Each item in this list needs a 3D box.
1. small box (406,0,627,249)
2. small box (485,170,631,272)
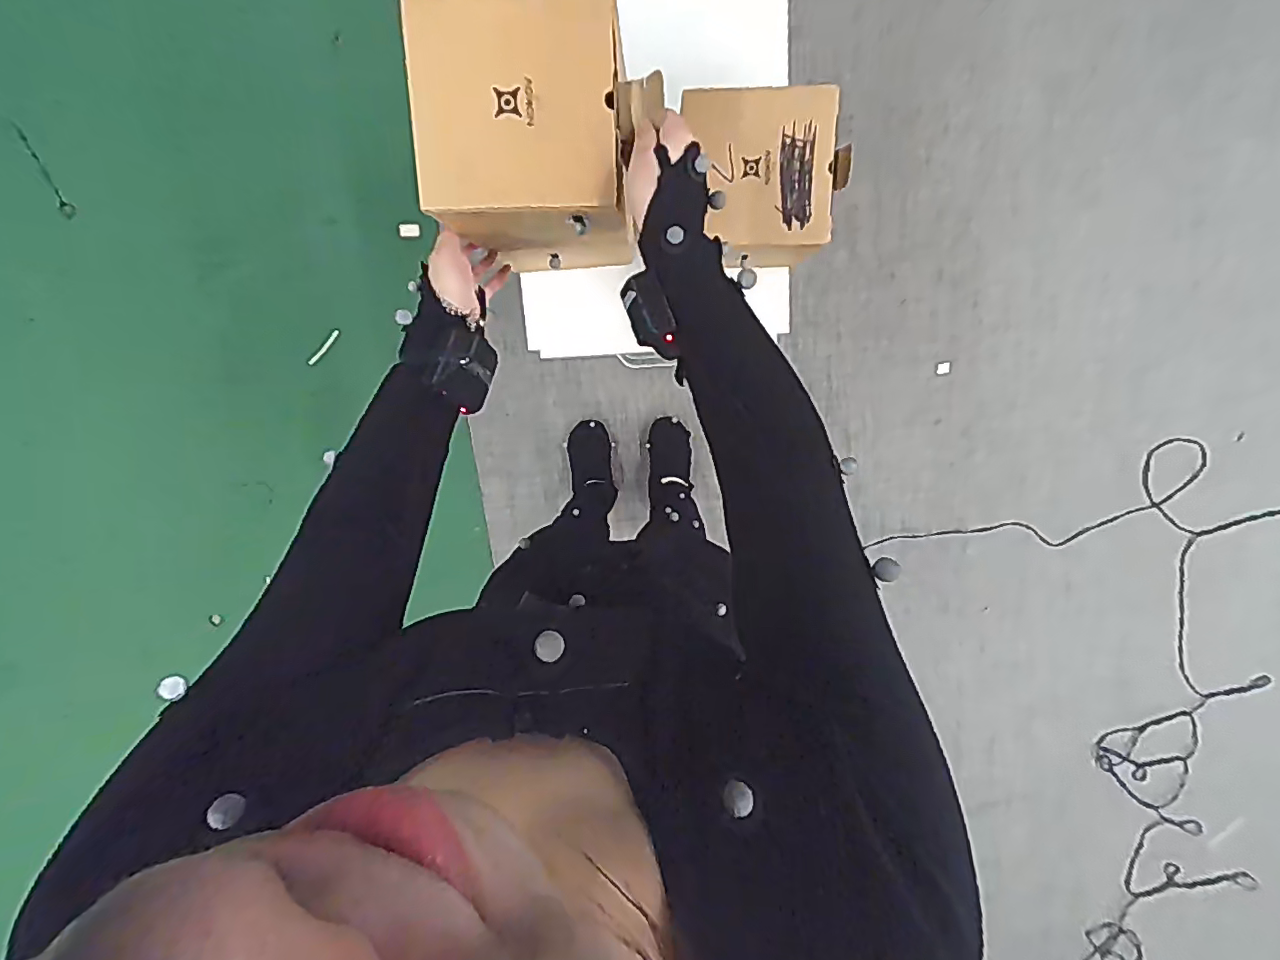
[{"bbox_3d":[-0.104,-0.332,0.532,0.179,0.176,0.168,-1,101,0],"label":"small box"},{"bbox_3d":[-0.104,-0.370,0.695,0.179,0.176,0.168,-4,103,0],"label":"small box"}]
